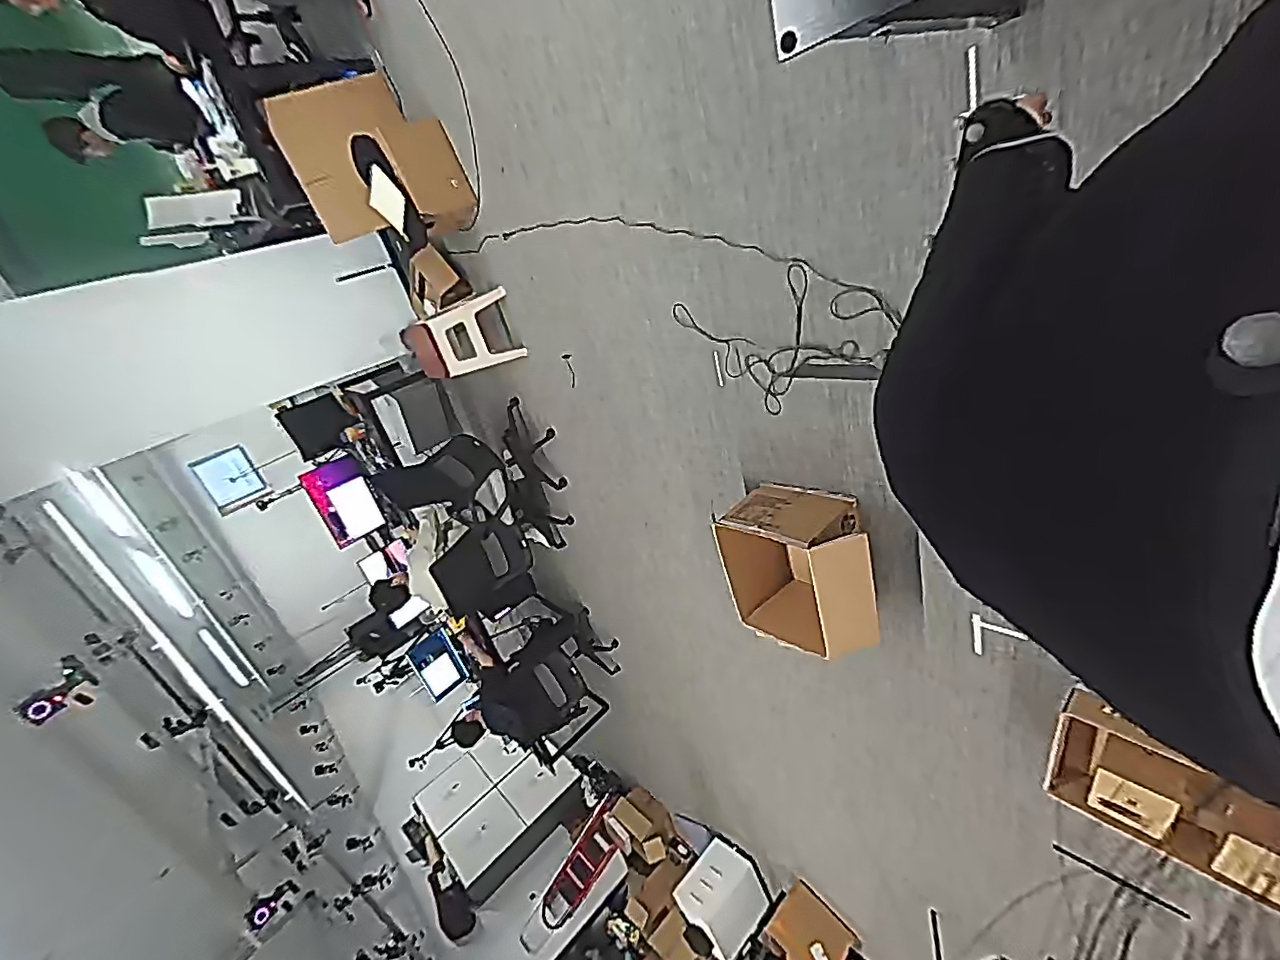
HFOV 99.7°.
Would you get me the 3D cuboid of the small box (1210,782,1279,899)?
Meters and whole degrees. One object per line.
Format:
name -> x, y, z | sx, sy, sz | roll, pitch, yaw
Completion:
small box -> 1.566, 0.897, 1.333 | 0.179, 0.176, 0.168 | 20, 131, 46
